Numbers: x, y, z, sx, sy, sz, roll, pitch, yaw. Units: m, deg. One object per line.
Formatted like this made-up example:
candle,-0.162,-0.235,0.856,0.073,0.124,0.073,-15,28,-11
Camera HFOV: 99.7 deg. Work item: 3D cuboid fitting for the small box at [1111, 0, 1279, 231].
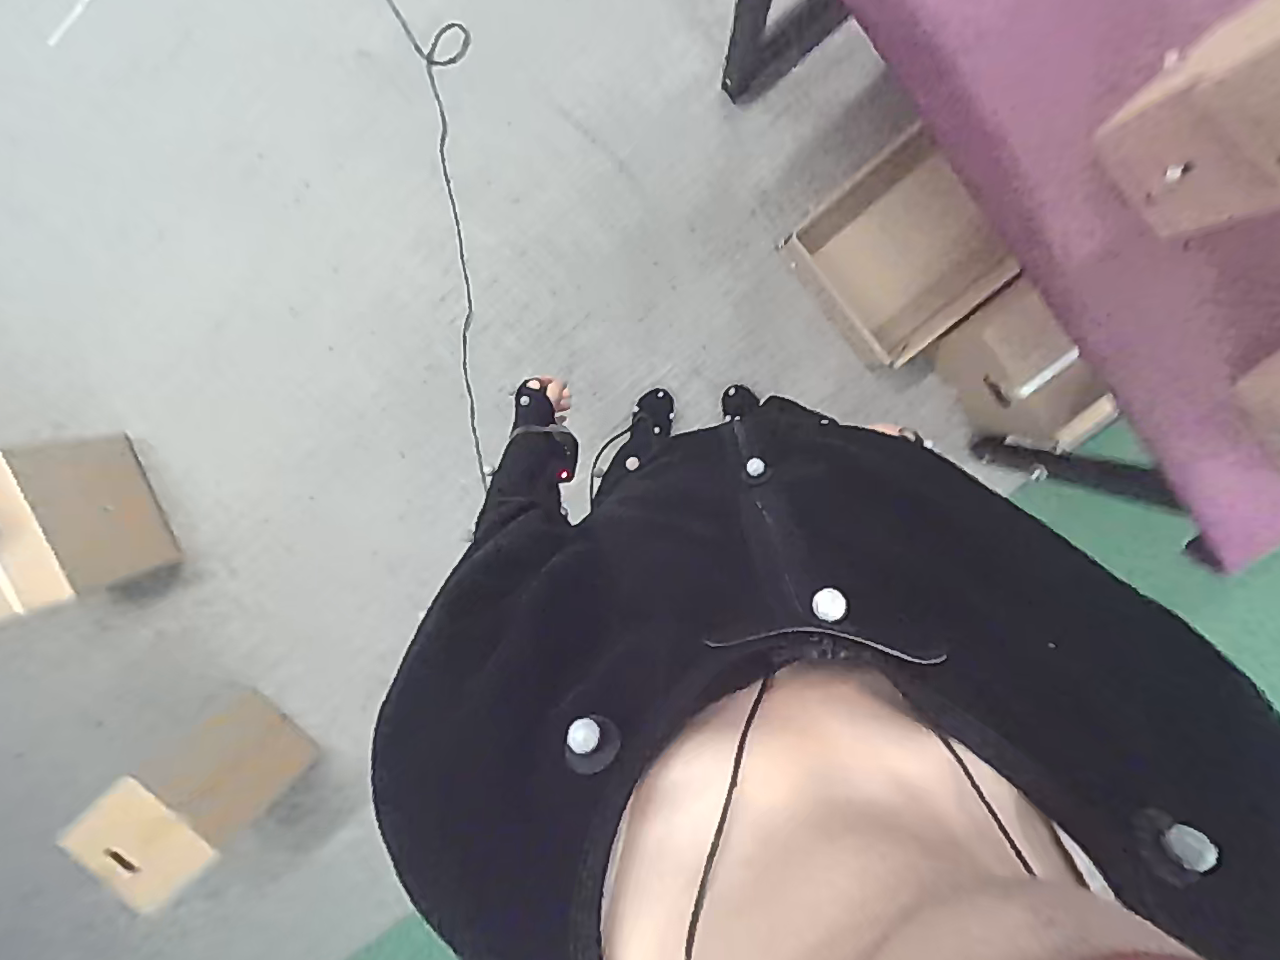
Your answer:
small box,0.673,-0.407,0.585,0.179,0.176,0.168,-42,96,9

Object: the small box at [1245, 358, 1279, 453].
small box,0.897,-0.101,0.626,0.179,0.176,0.168,-38,95,8
